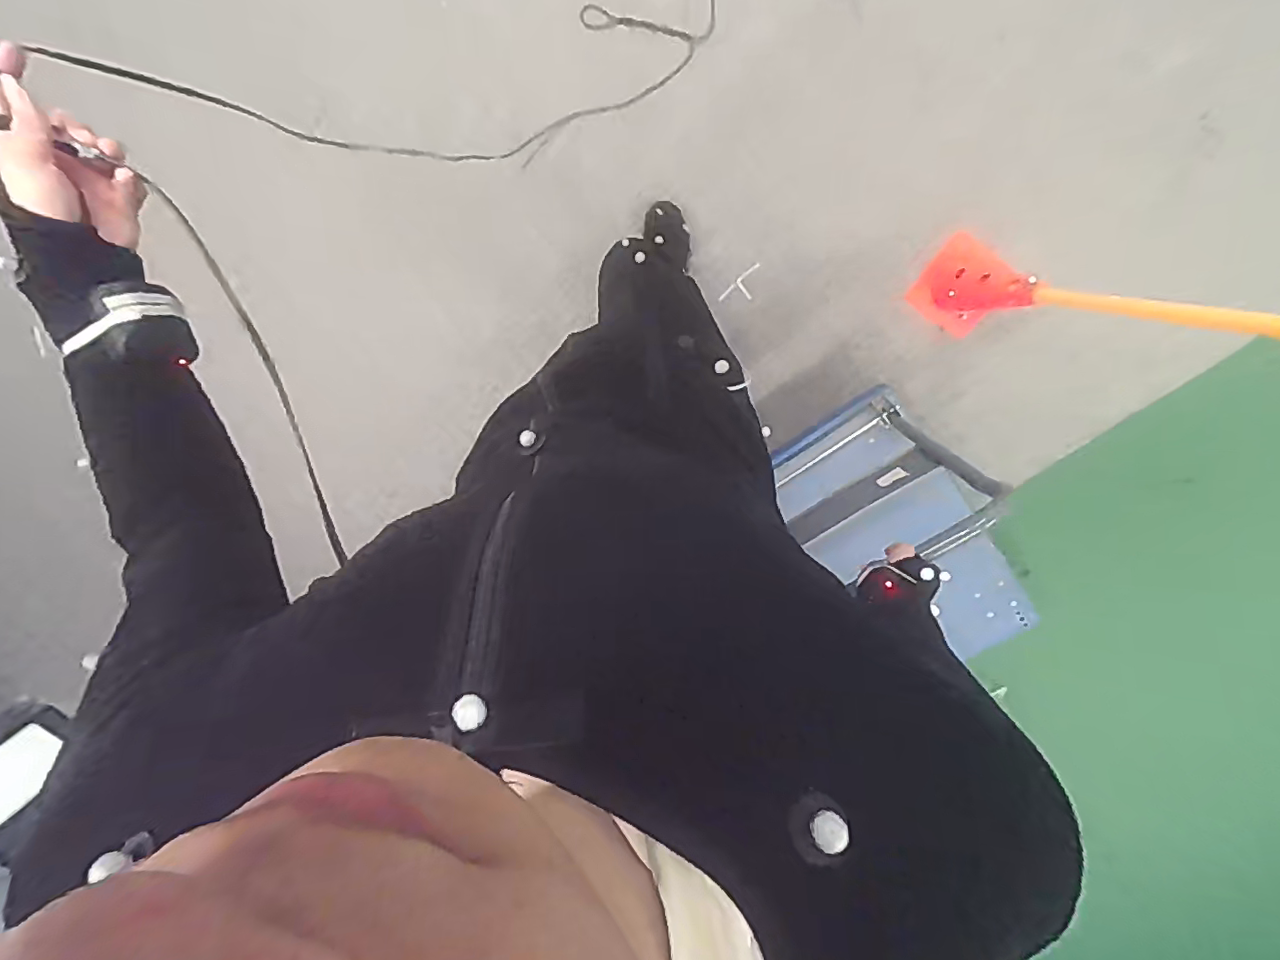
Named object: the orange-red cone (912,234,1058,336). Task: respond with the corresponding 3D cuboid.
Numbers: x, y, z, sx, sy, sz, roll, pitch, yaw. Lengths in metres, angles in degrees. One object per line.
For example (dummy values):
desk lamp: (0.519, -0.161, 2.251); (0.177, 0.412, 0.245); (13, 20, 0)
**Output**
orange-red cone: (0.820, -0.434, 1.231); (0.198, 0.360, 0.199); (32, 110, -9)
